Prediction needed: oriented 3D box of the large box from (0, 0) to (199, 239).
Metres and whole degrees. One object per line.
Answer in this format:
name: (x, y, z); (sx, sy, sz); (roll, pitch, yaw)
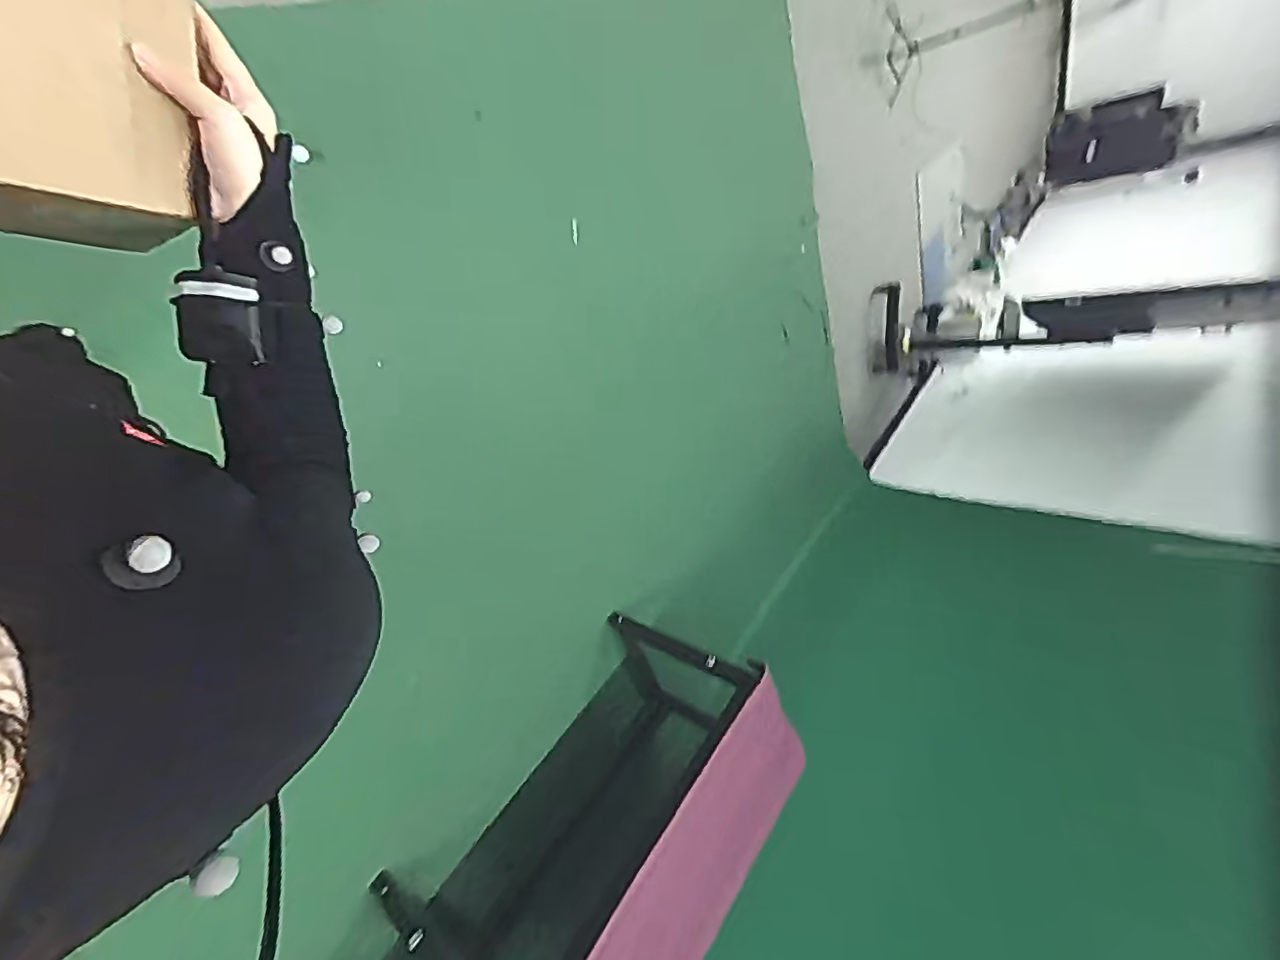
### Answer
large box: (-0.562, -0.351, 0.315); (0.408, 0.320, 0.320); (-11, 110, -48)
